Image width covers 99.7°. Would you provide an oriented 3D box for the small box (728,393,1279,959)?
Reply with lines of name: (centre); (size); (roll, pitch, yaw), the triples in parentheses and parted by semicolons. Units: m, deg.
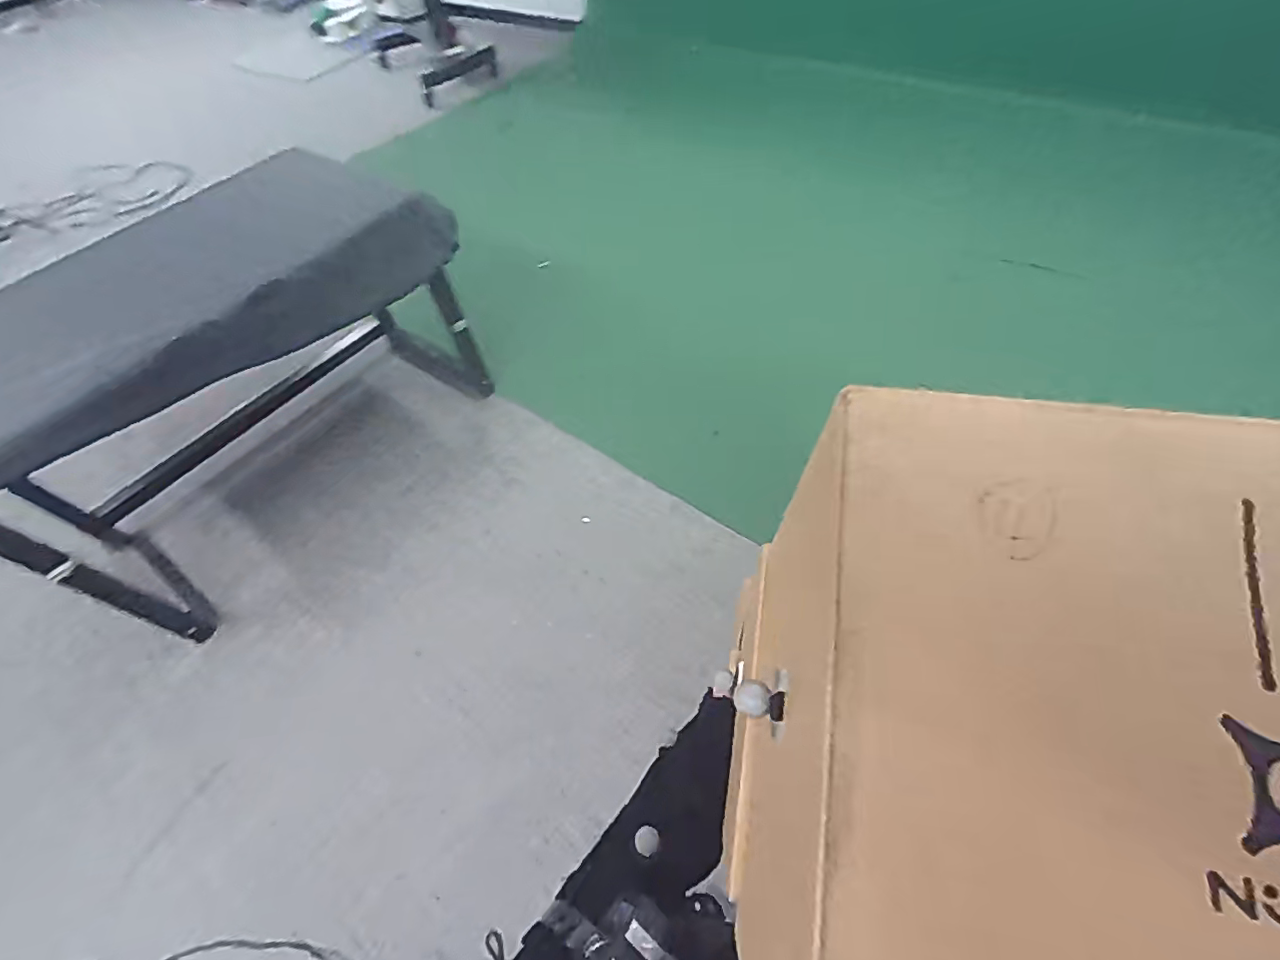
small box: (0.121, 0.093, 0.184); (0.168, 0.176, 0.179); (6, 69, 9)
